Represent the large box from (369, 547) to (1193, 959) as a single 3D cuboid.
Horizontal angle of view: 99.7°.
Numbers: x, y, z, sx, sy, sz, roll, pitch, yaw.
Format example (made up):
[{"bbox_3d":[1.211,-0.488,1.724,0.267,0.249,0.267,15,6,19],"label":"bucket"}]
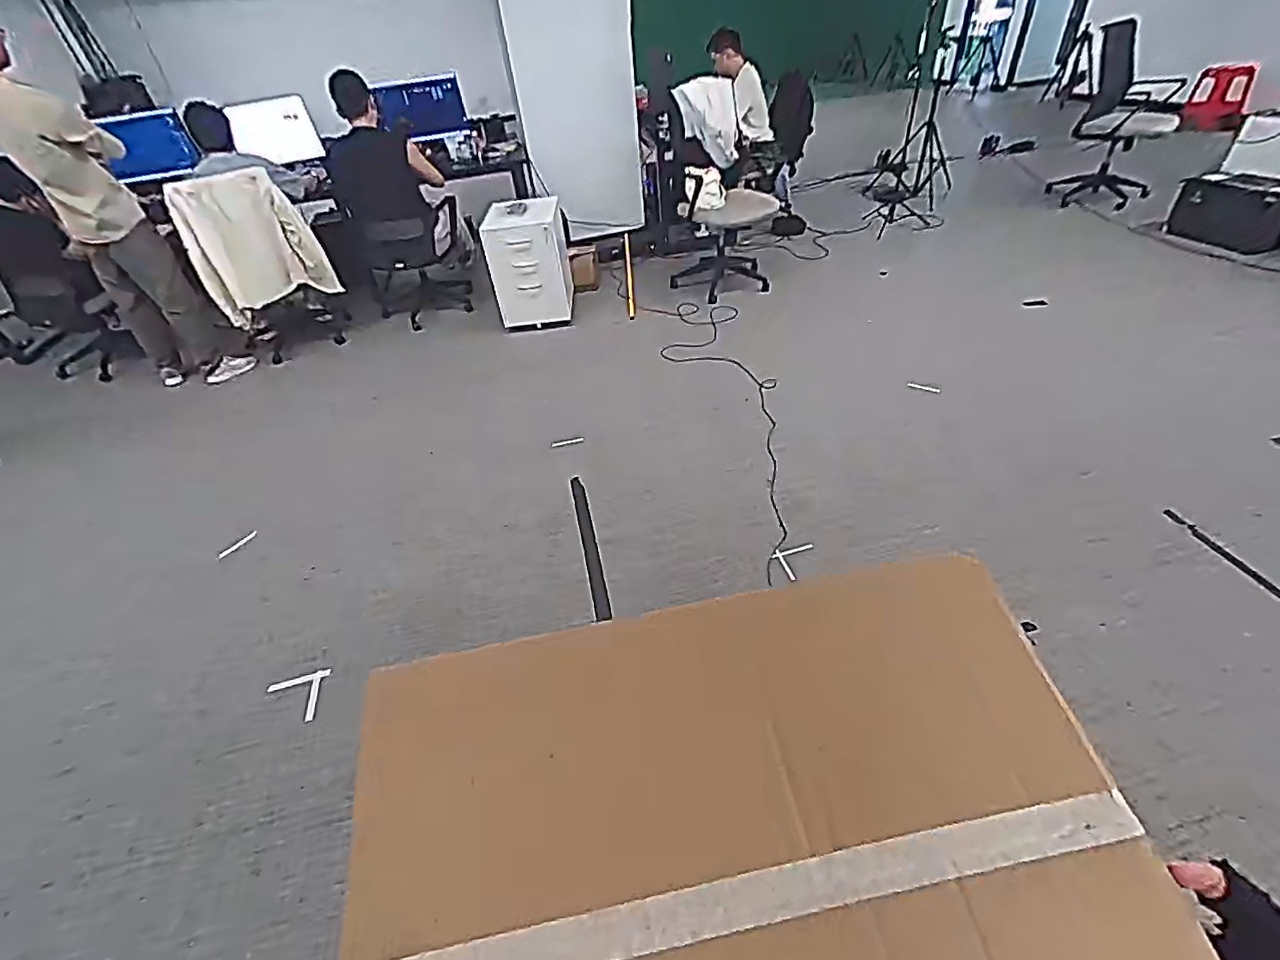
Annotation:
[{"bbox_3d":[0.063,0.293,0.408,0.408,0.320,0.320,-11,57,-3],"label":"large box"}]
